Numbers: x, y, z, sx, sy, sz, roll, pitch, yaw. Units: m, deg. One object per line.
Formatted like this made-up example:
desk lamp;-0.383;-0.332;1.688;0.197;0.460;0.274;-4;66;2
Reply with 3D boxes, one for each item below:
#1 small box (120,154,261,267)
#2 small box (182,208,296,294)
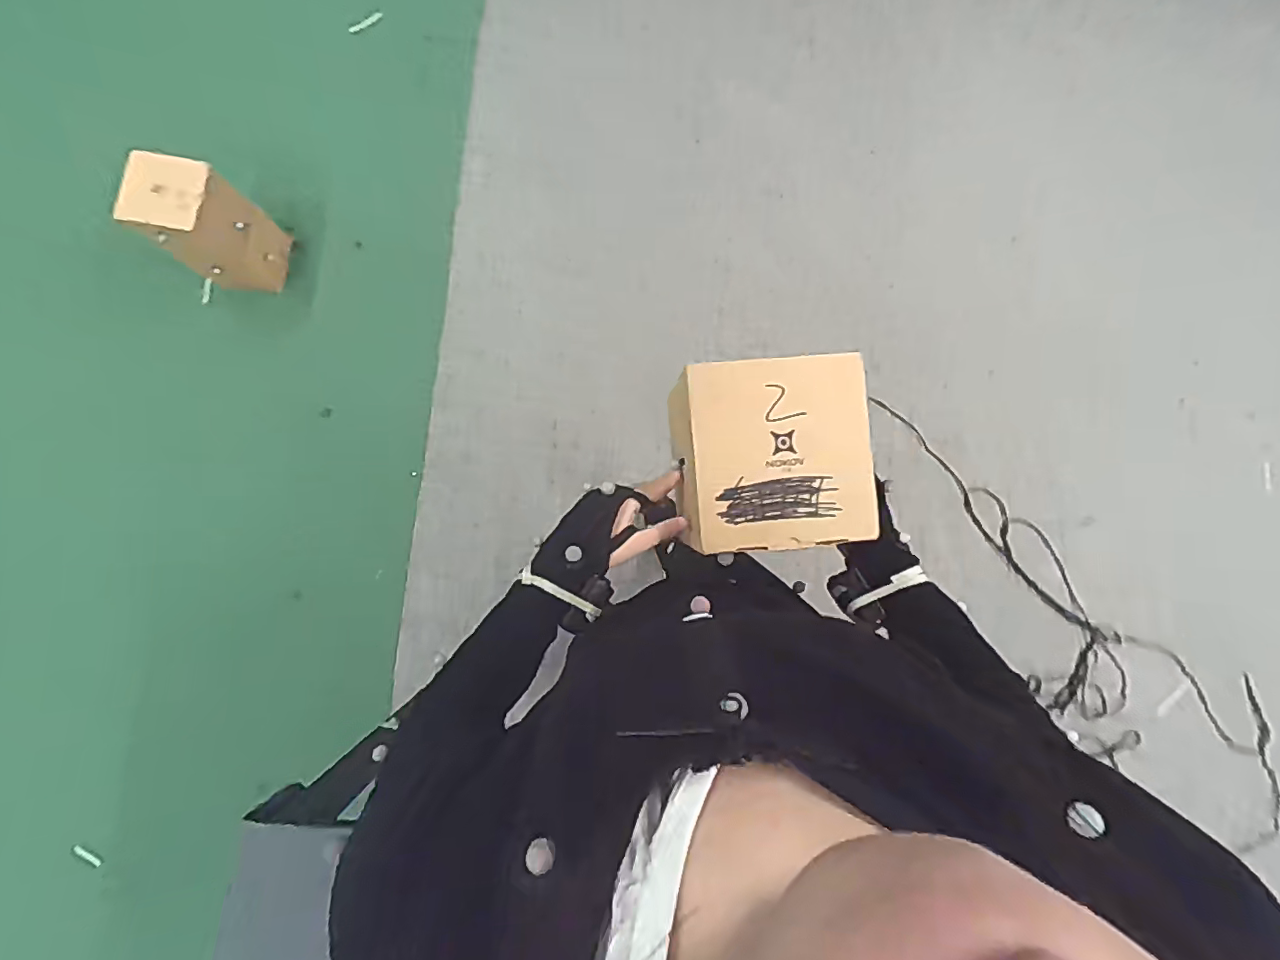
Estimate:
small box;-1.061;-0.634;1.291;0.179;0.176;0.168;9;84;-2
small box;-1.068;-0.620;1.456;0.179;0.176;0.168;7;84;-2
